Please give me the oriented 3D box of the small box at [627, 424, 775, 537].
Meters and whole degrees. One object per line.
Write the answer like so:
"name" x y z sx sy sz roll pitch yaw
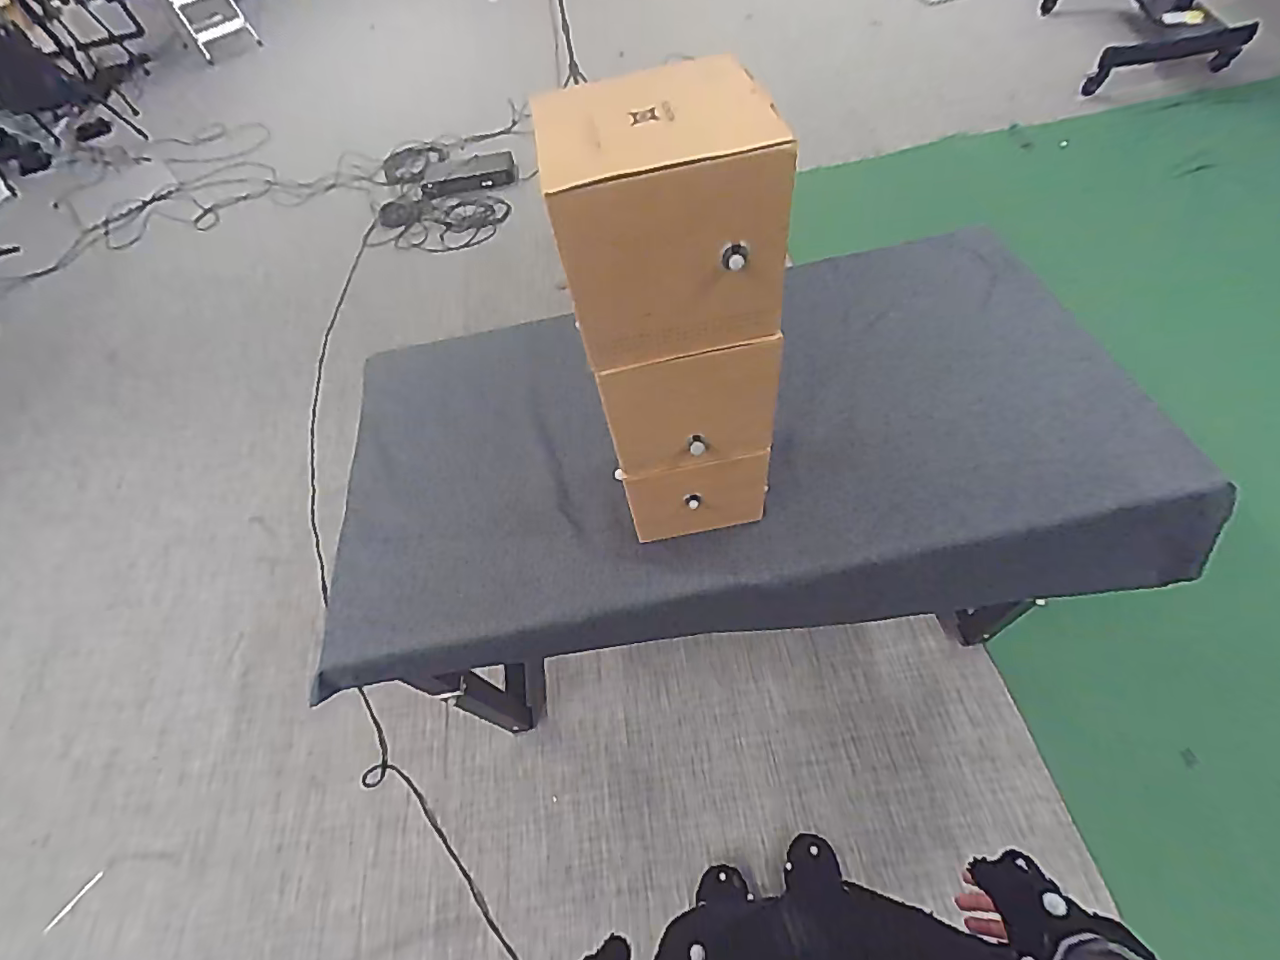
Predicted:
"small box" 0.067 -0.042 0.737 0.179 0.176 0.168 -13 57 -1

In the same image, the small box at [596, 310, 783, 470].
"small box" 0.044 -0.132 0.603 0.179 0.176 0.168 -11 56 1

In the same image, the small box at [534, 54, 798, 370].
"small box" 0.019 -0.222 0.469 0.179 0.176 0.168 -13 56 2
